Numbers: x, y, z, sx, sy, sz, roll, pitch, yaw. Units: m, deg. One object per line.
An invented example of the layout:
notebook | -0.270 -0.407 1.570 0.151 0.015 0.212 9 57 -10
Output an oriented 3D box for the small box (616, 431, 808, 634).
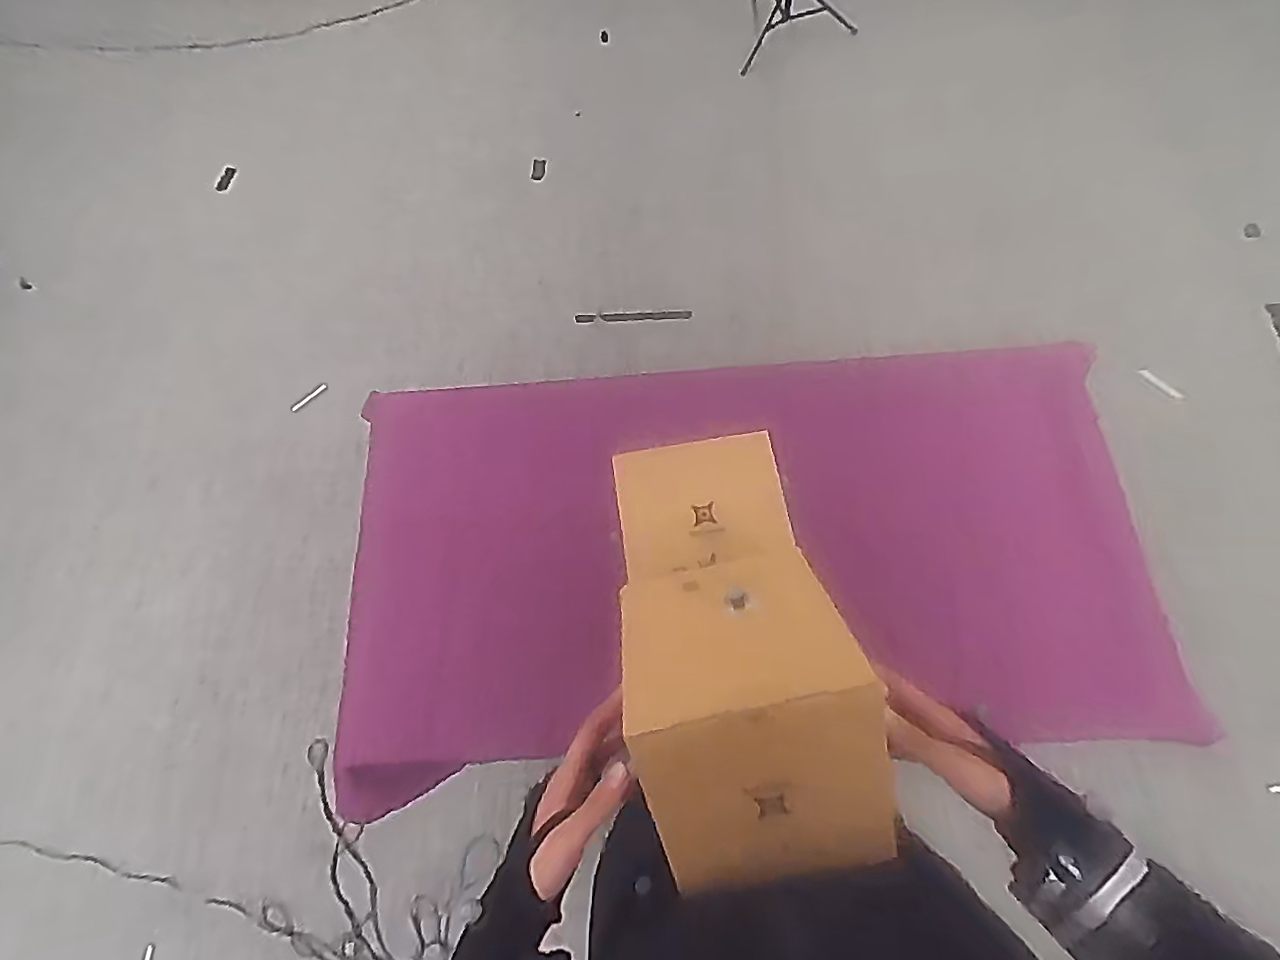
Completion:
small box | 0.071 0.068 0.605 0.168 0.176 0.179 -9 71 2
